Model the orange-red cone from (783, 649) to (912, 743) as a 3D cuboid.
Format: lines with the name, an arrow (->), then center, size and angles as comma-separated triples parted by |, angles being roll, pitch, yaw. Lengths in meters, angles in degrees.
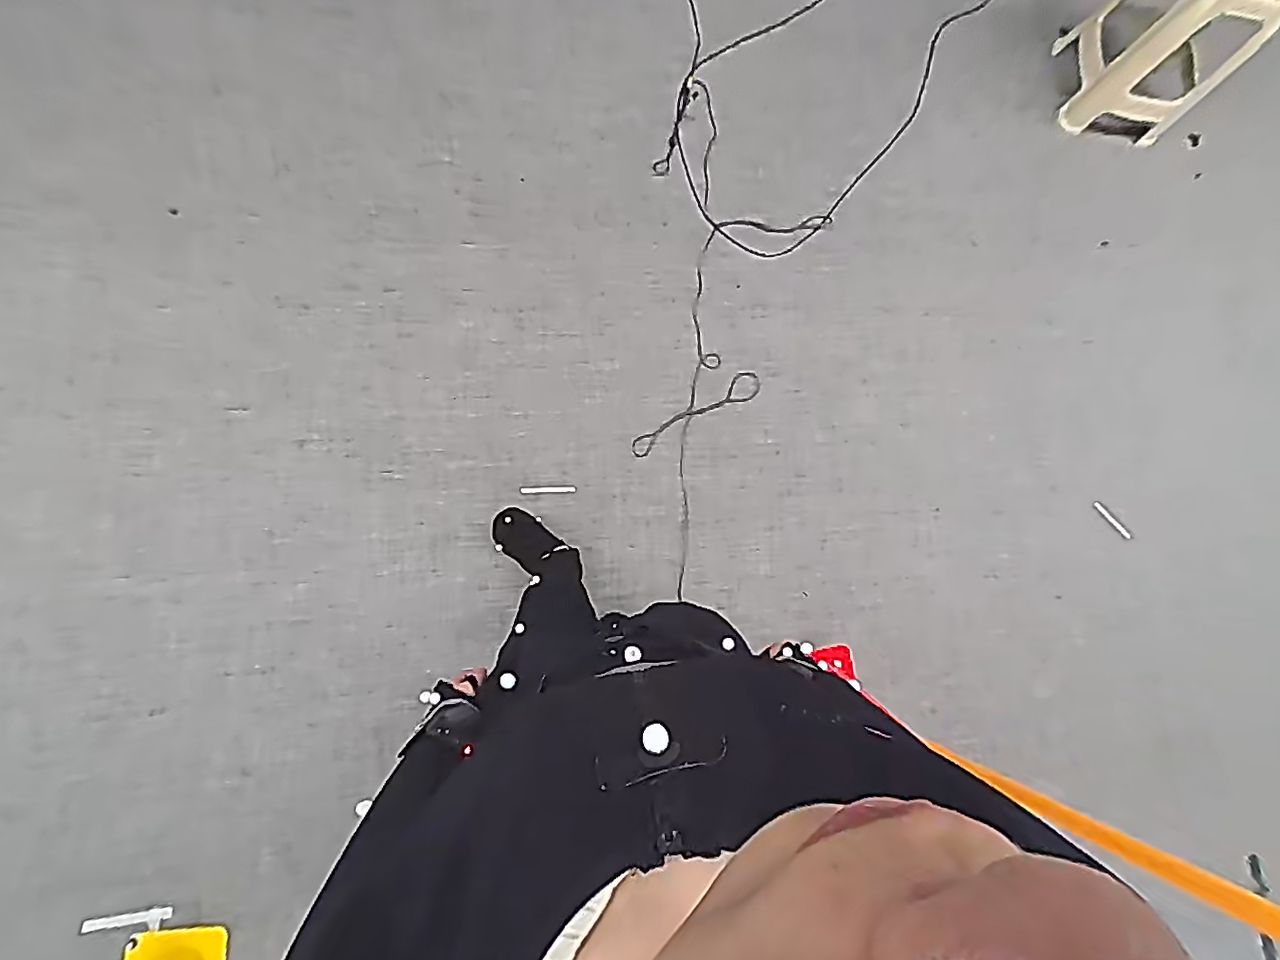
orange-red cone -> 0.484, 0.513, 1.202 | 0.199, 0.360, 0.198 | -7, 82, -6
